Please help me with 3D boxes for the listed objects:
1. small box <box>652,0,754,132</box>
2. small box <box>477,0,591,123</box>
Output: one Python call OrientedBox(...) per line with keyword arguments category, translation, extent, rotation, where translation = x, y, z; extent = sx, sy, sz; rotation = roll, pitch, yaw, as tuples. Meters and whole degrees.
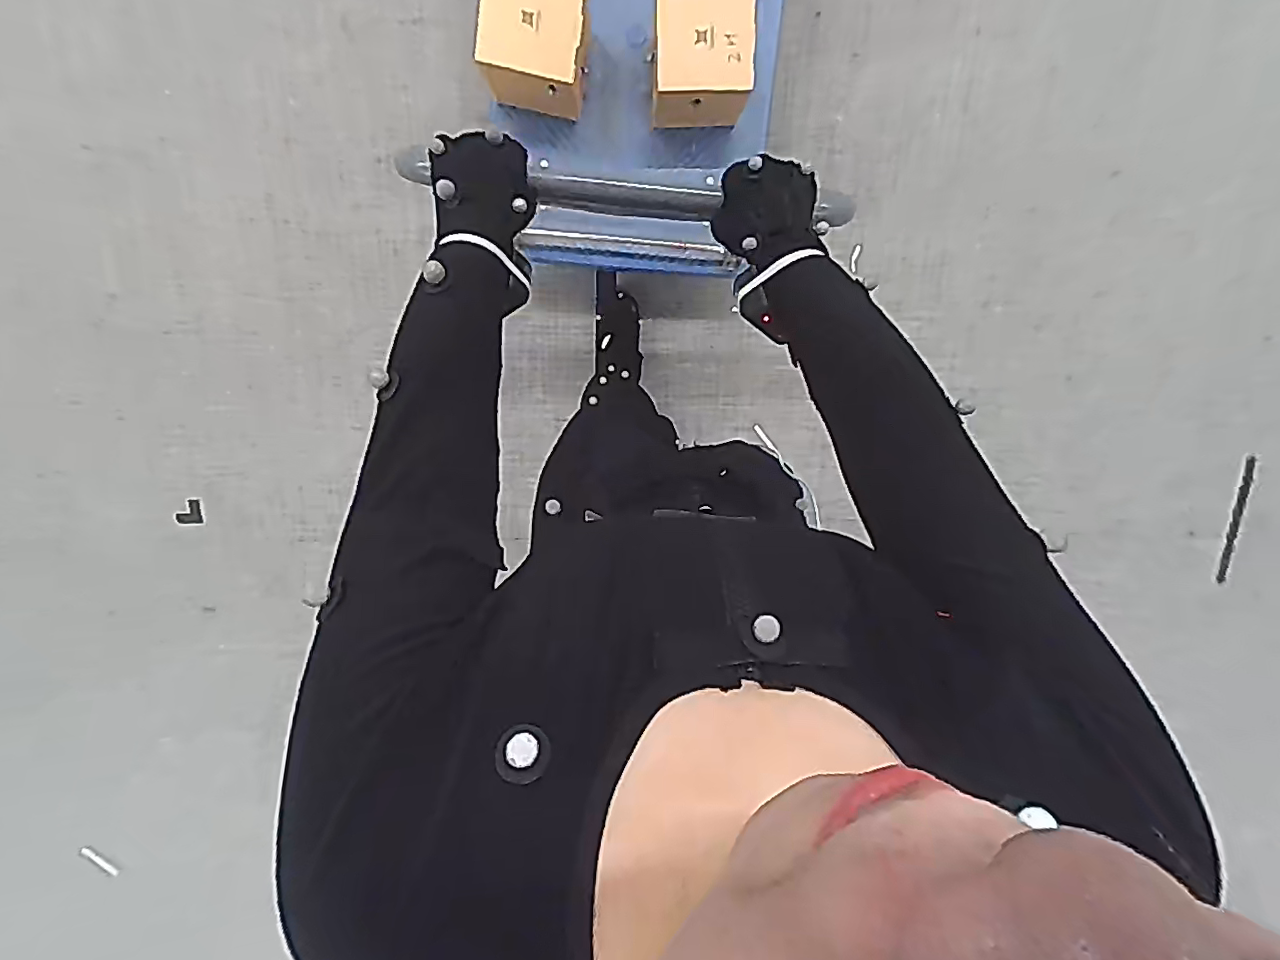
OrientedBox(category="small box", translation=(0.112, -0.787, 1.034), extent=(0.179, 0.176, 0.168), rotation=(-1, 105, -2))
OrientedBox(category="small box", translation=(-0.193, -0.806, 1.018), extent=(0.179, 0.176, 0.168), rotation=(9, 103, -6))
